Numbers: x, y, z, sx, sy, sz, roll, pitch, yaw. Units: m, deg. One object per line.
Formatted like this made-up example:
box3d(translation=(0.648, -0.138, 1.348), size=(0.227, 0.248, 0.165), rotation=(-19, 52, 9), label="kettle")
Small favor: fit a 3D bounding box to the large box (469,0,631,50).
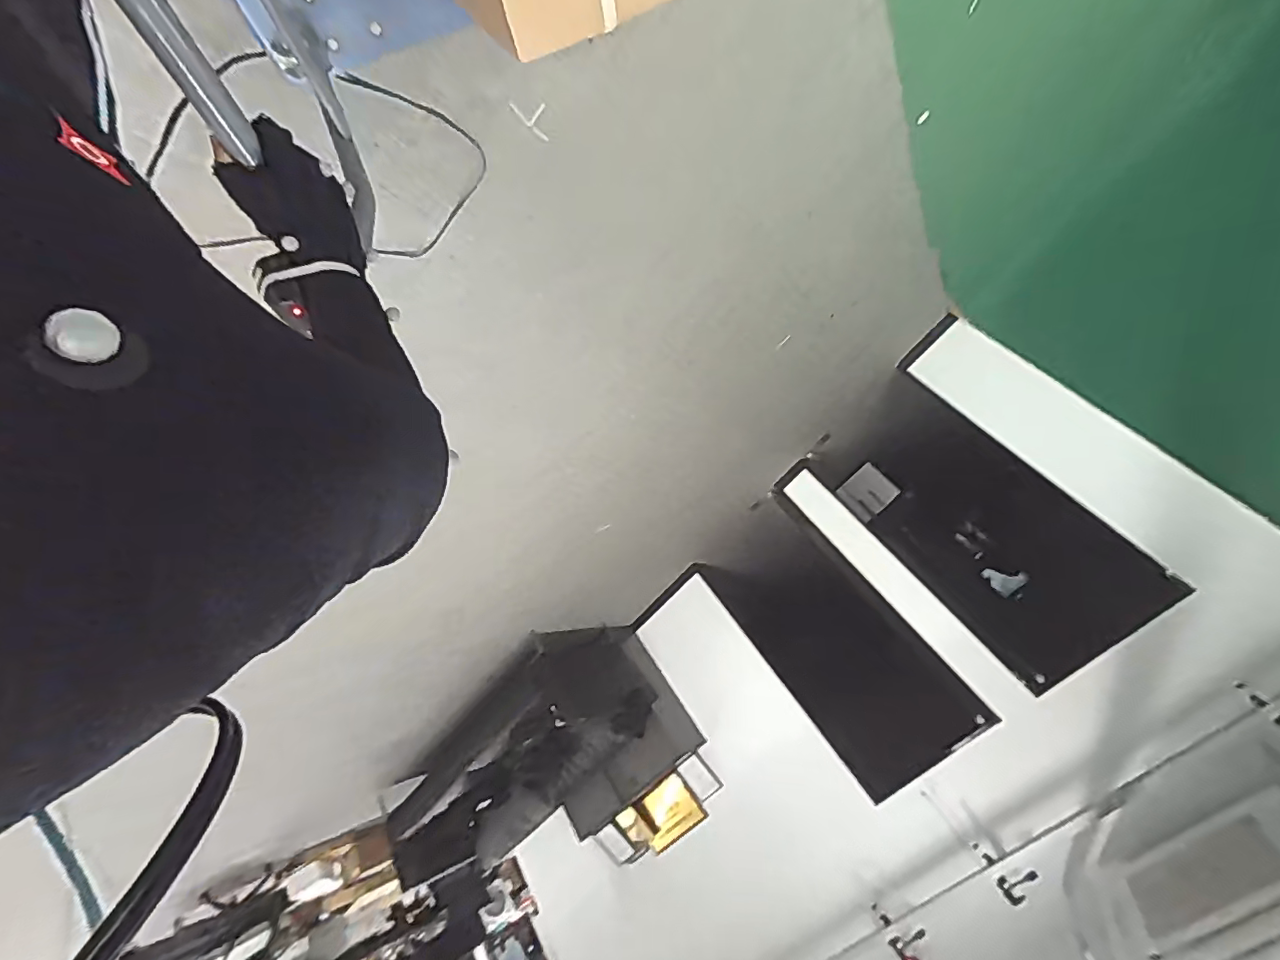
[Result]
box3d(translation=(-0.161, -0.938, 0.756), size=(0.320, 0.320, 0.408), rotation=(-30, 150, -7), label="large box")
